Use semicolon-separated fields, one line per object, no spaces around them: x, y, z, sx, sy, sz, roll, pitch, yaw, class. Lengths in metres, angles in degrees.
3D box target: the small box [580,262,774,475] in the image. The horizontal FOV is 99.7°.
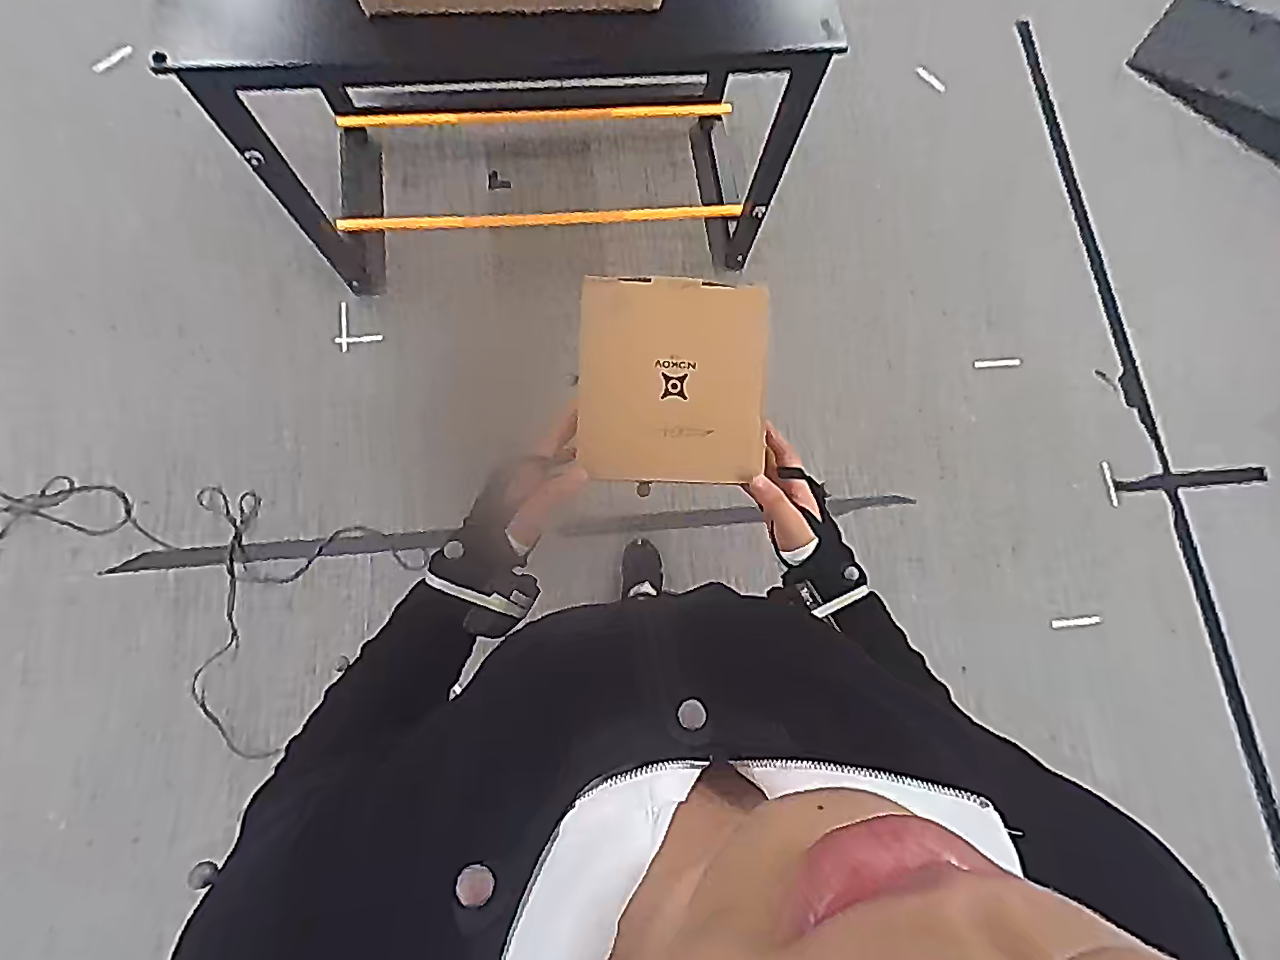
0.026;-0.096;0.542;0.168;0.176;0.179;2;91;-4;small box
